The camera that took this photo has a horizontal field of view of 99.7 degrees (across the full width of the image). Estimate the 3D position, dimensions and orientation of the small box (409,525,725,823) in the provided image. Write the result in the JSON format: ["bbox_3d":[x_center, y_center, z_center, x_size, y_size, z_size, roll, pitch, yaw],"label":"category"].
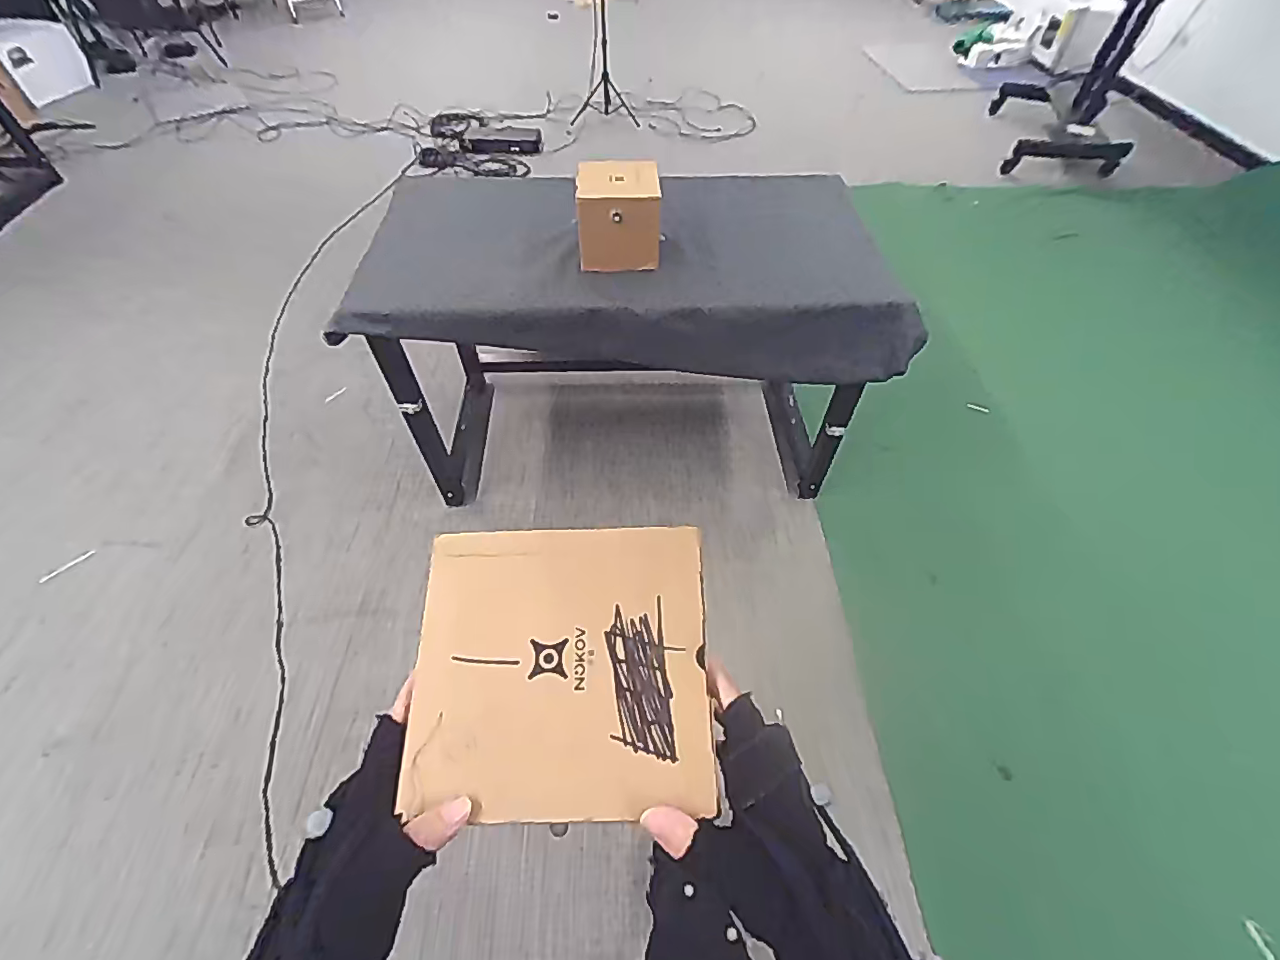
[{"bbox_3d":[-0.046,0.139,0.400,0.179,0.176,0.168,-3,66,-2],"label":"small box"}]

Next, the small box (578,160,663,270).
[{"bbox_3d":[-0.043,-0.584,1.198,0.179,0.176,0.168,-1,54,-3],"label":"small box"}]
